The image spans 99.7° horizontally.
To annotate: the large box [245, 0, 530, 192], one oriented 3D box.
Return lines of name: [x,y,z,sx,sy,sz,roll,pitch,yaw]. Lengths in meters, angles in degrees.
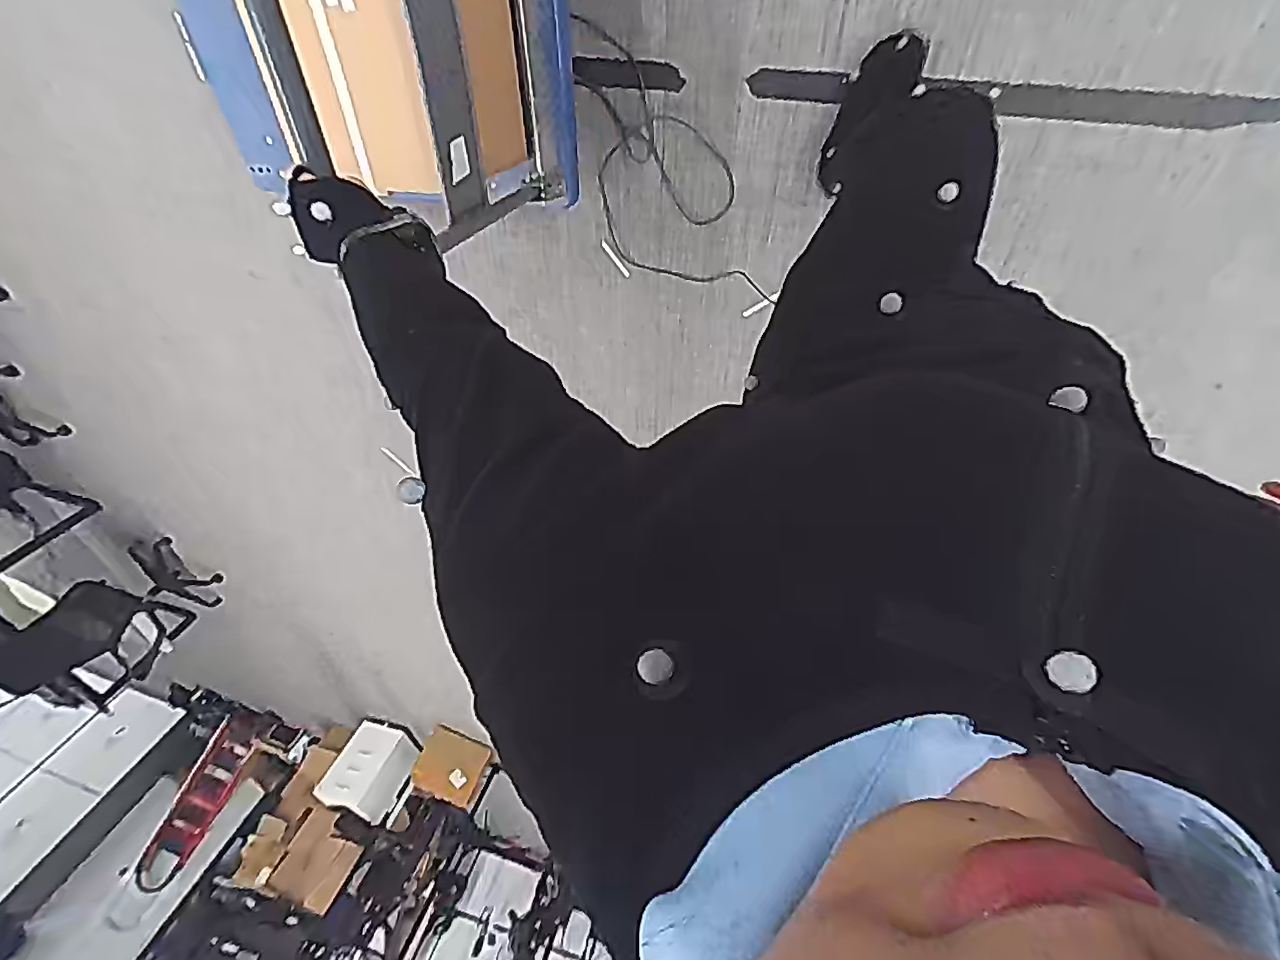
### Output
large box: [-0.421,-0.759,0.948,0.320,0.320,0.408,10,130,13]
